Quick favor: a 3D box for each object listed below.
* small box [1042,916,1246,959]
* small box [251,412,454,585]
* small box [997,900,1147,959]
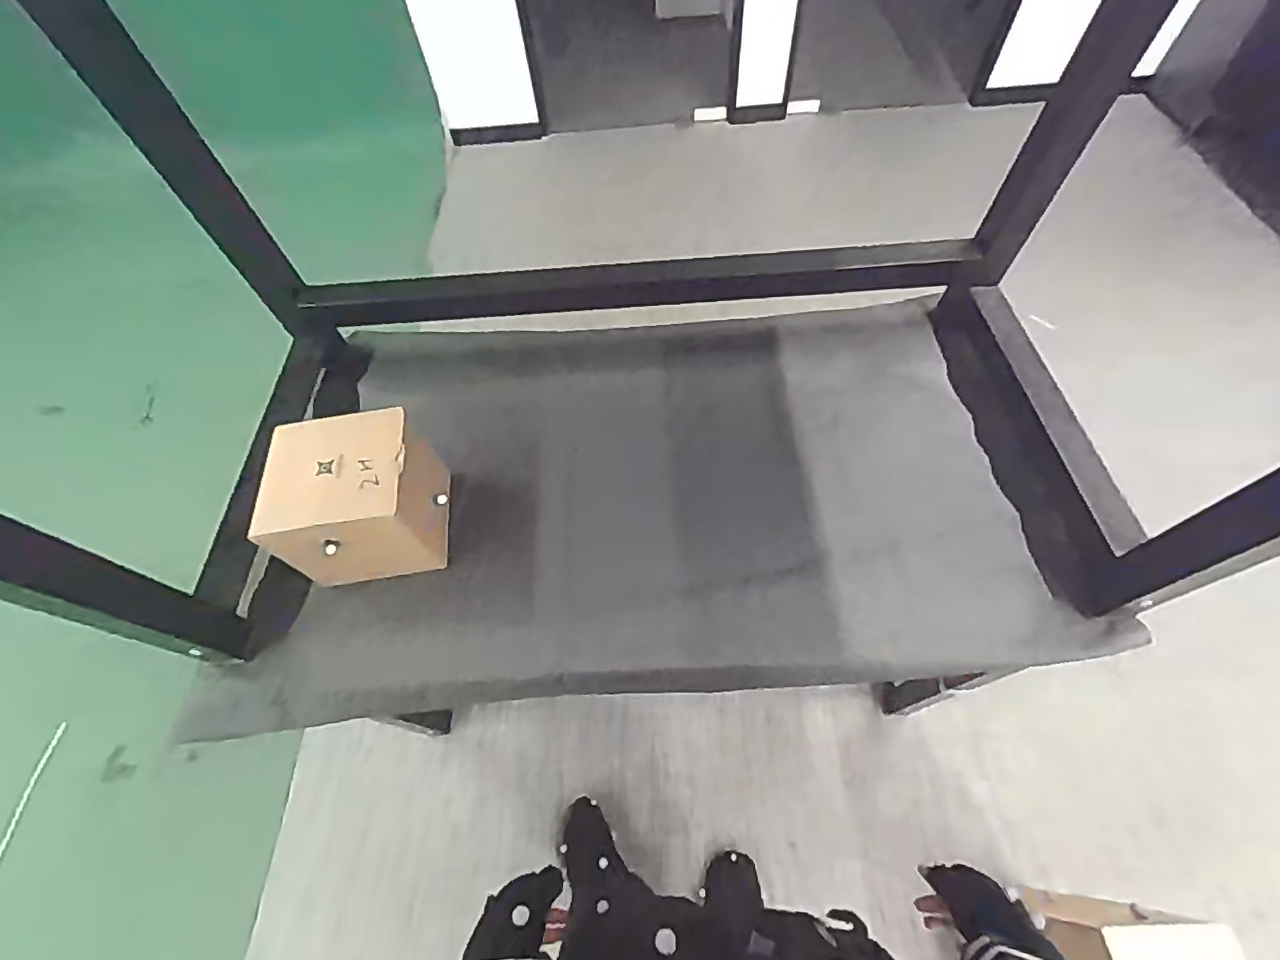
[{"bbox_3d":[0.693,0.704,0.725,0.168,0.176,0.179,-4,58,3],"label":"small box"},{"bbox_3d":[-0.375,0.032,0.741,0.179,0.176,0.168,-9,59,-2],"label":"small box"},{"bbox_3d":[0.717,0.794,0.860,0.168,0.176,0.179,-6,57,1],"label":"small box"}]
